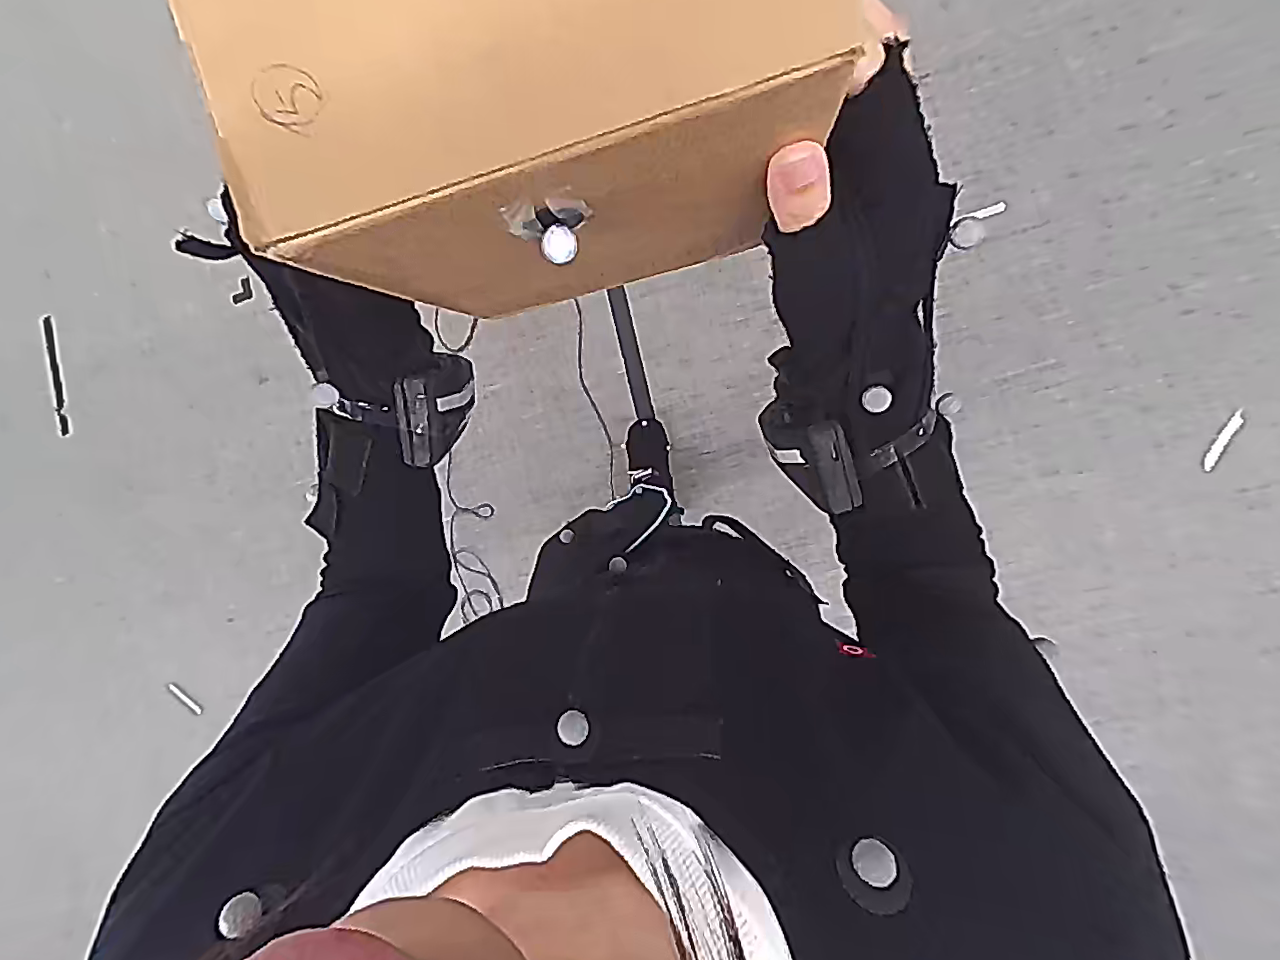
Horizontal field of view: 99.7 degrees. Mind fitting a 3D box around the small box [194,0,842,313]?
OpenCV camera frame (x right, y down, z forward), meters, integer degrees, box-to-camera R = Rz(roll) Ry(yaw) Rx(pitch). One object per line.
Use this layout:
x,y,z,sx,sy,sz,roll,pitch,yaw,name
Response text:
-0.035,-0.175,0.216,0.179,0.176,0.168,-11,98,11,small box
